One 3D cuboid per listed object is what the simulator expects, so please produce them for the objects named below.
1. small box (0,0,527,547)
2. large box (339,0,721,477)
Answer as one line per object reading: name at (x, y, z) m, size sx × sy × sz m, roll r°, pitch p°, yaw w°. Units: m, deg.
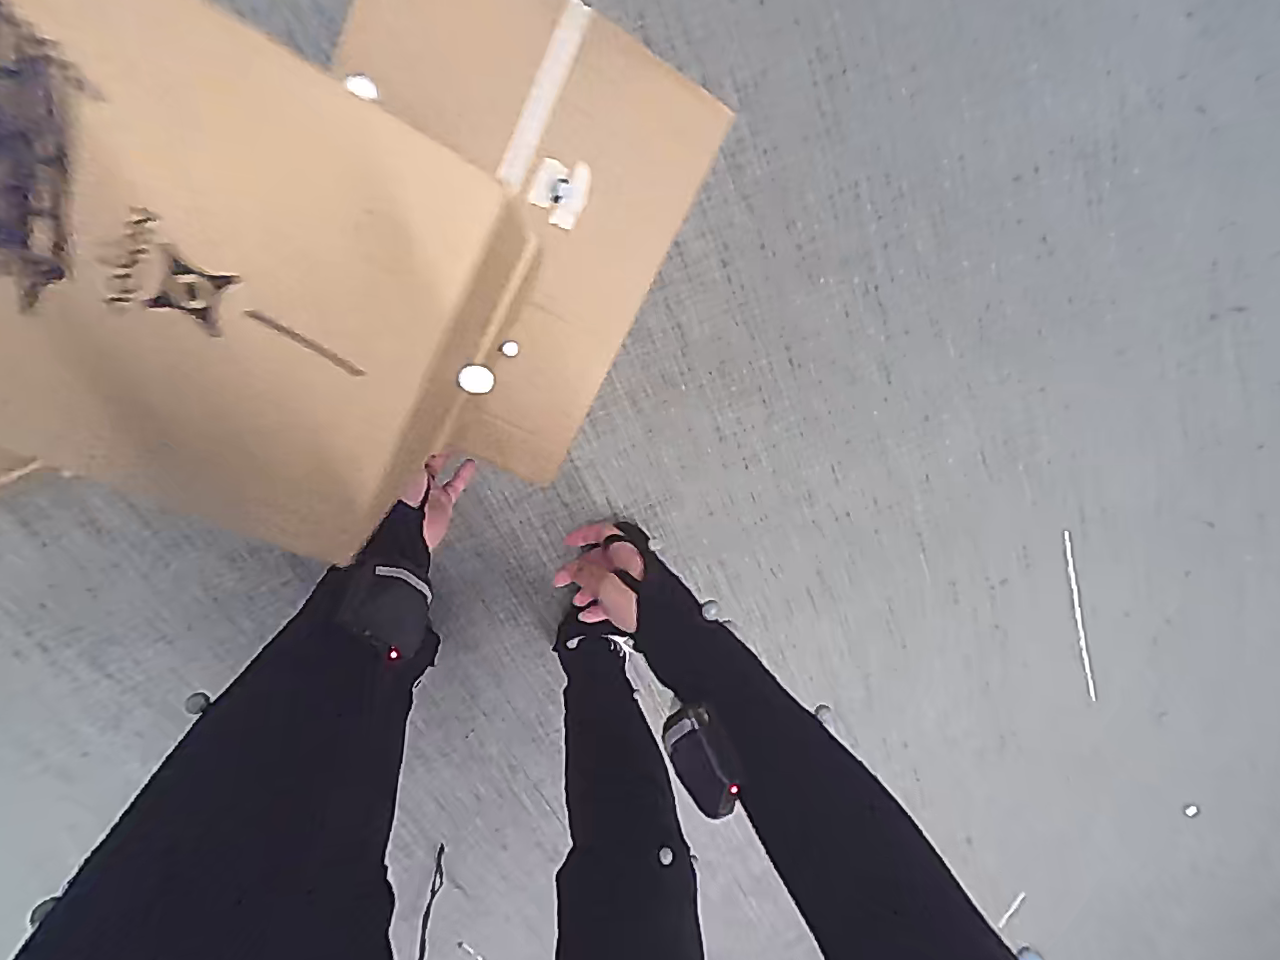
small box at (-0.169, -0.099, 0.261) m, size 0.179 × 0.176 × 0.168 m, roll 26°, pitch 102°, yaw -17°
large box at (-0.165, -0.273, 0.641) m, size 0.320 × 0.320 × 0.408 m, roll 24°, pitch 102°, yaw -17°
